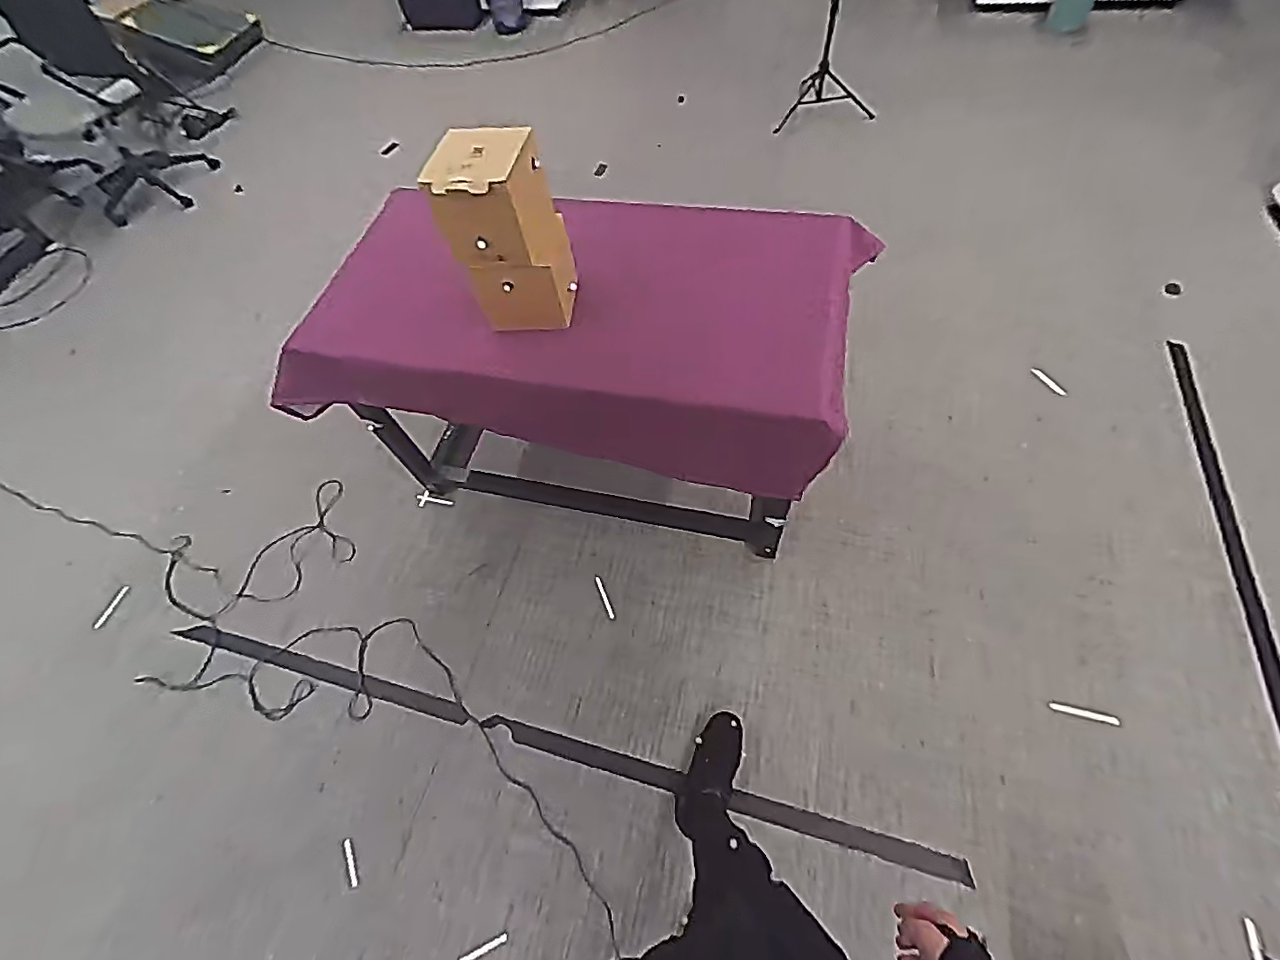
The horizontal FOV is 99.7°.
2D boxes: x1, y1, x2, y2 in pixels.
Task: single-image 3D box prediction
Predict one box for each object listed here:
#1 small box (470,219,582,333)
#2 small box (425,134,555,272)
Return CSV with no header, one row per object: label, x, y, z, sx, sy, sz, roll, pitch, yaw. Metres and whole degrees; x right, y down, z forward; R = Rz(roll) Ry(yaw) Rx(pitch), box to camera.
small box,-0.234,-0.431,1.157,0.179,0.176,0.168,1,60,7
small box,-0.269,-0.523,1.024,0.168,0.176,0.179,5,60,10
